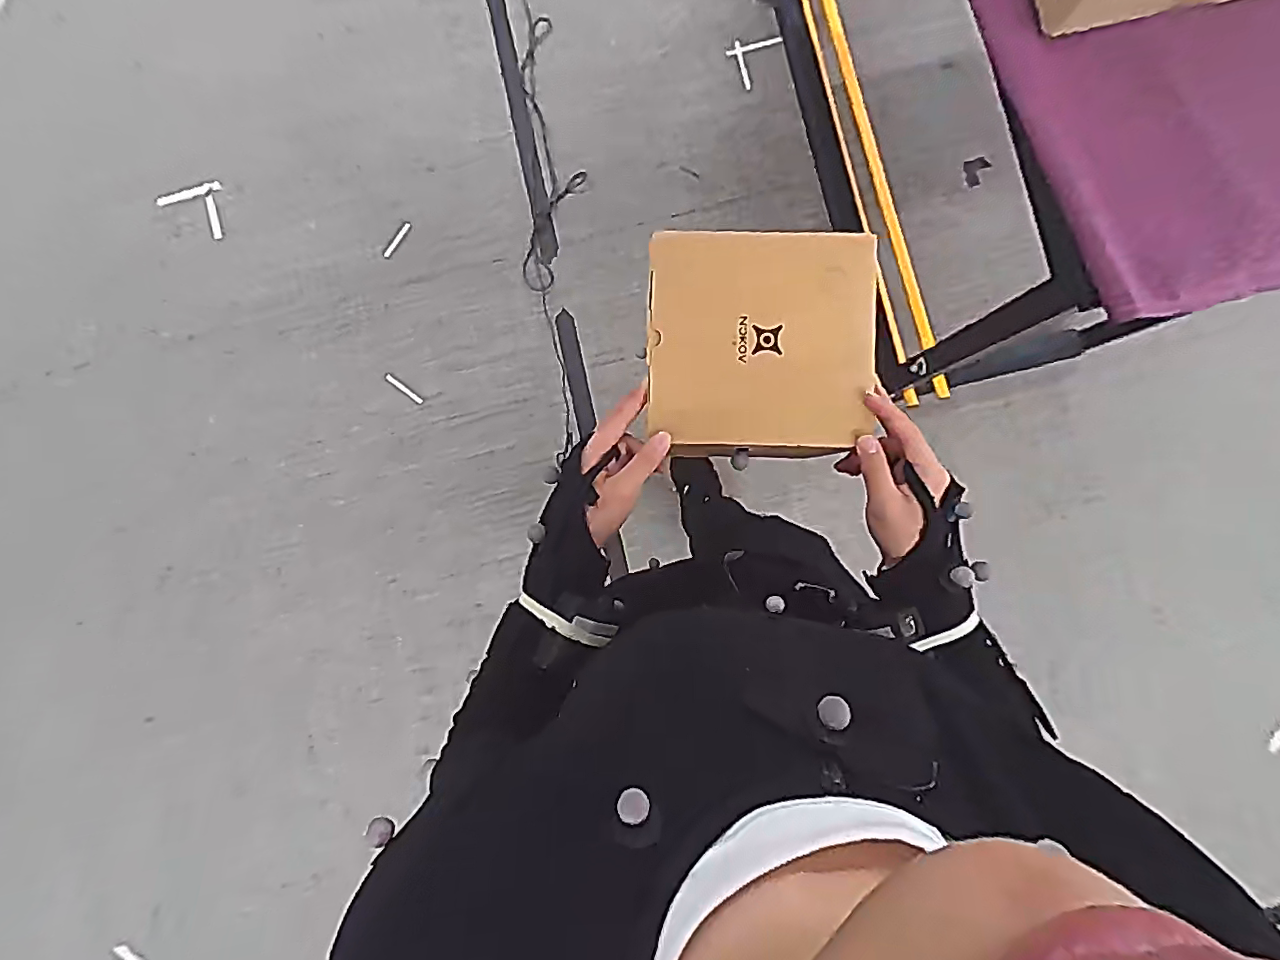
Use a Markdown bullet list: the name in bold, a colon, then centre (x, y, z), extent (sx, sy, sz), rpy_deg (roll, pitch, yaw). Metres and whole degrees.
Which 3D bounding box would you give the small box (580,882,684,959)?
- **small box**: centre (-0.011, 0.960, 1.091), extent (0.168, 0.176, 0.179), rpy_deg (-19, 88, 1)

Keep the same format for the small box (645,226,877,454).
- **small box**: centre (0.094, -0.111, 0.494), extent (0.179, 0.176, 0.168), rpy_deg (0, 89, 1)
